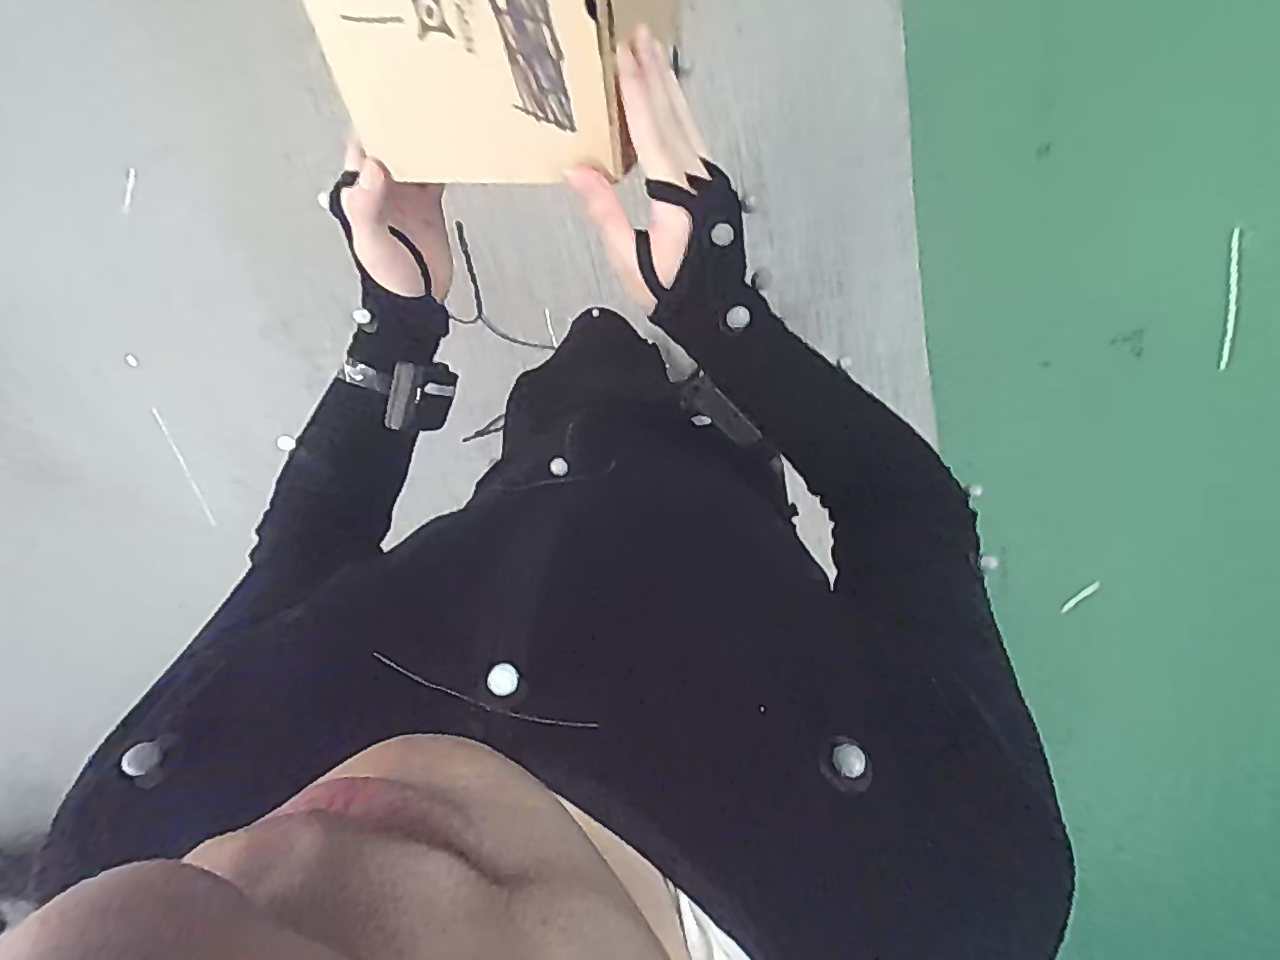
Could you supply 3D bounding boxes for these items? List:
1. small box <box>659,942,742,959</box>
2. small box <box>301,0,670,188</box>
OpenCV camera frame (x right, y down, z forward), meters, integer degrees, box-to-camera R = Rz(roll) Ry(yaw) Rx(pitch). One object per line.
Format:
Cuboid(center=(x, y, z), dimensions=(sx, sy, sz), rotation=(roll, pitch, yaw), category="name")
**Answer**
Cuboid(center=(0.127, 1.051, 1.061), dimensions=(0.179, 0.176, 0.168), rotation=(-13, 107, 16), category="small box")
Cuboid(center=(-0.081, -0.301, 0.339), dimensions=(0.179, 0.176, 0.168), rotation=(8, 138, 15), category="small box")
